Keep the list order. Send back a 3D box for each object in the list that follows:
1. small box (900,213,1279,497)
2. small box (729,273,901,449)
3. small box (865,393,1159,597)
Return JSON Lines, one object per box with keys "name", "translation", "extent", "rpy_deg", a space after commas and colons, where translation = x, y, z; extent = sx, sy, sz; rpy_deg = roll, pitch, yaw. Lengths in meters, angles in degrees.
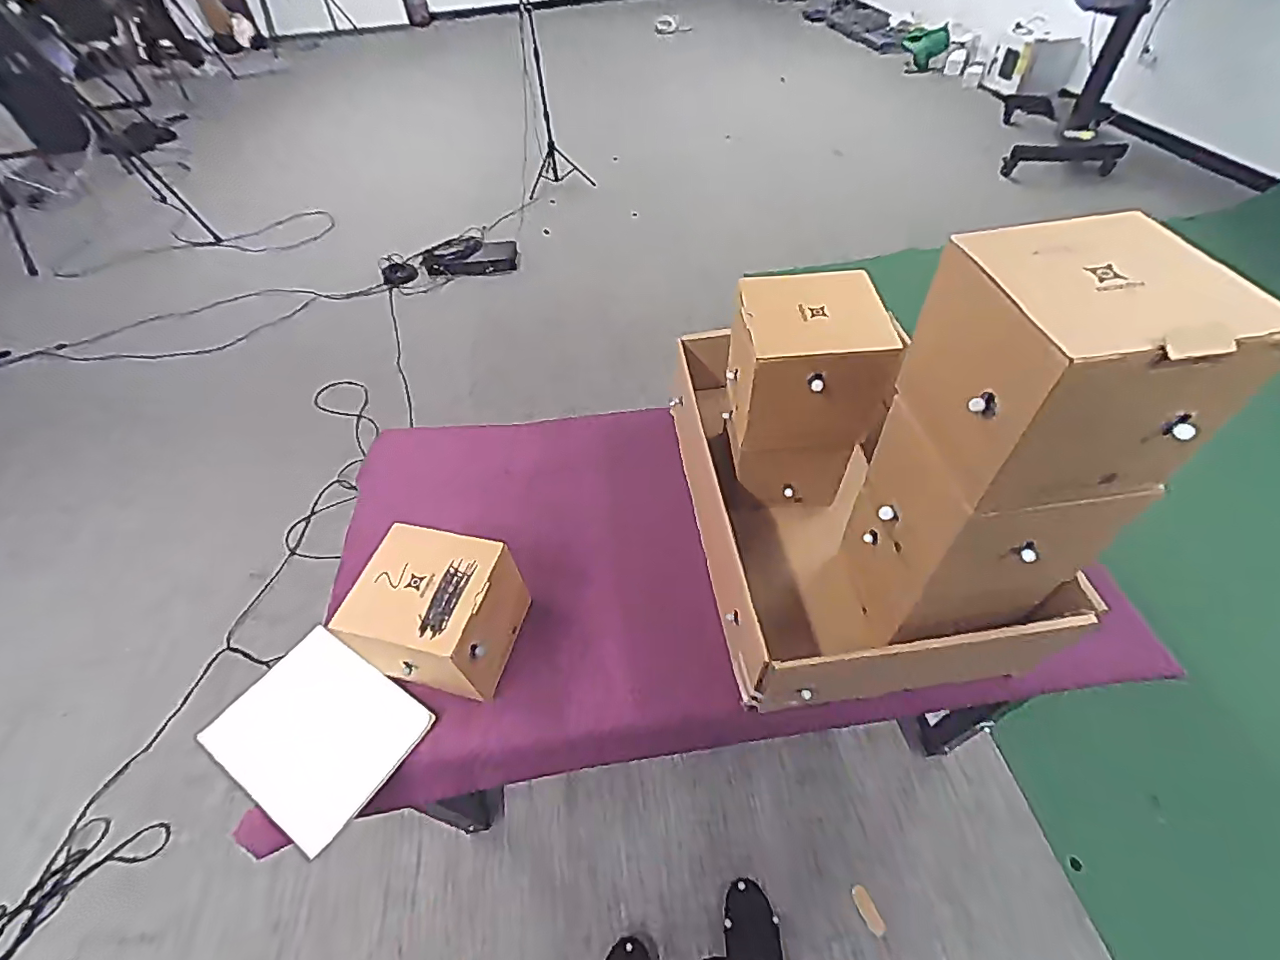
{"name": "small box", "translation": [0.355, -0.099, 0.466], "extent": [0.168, 0.176, 0.179], "rpy_deg": [-7, 49, 0]}
{"name": "small box", "translation": [0.224, -0.159, 0.744], "extent": [0.179, 0.176, 0.168], "rpy_deg": [-4, 53, 3]}
{"name": "small box", "translation": [0.372, 0.009, 0.587], "extent": [0.179, 0.176, 0.168], "rpy_deg": [-8, 50, 1]}
